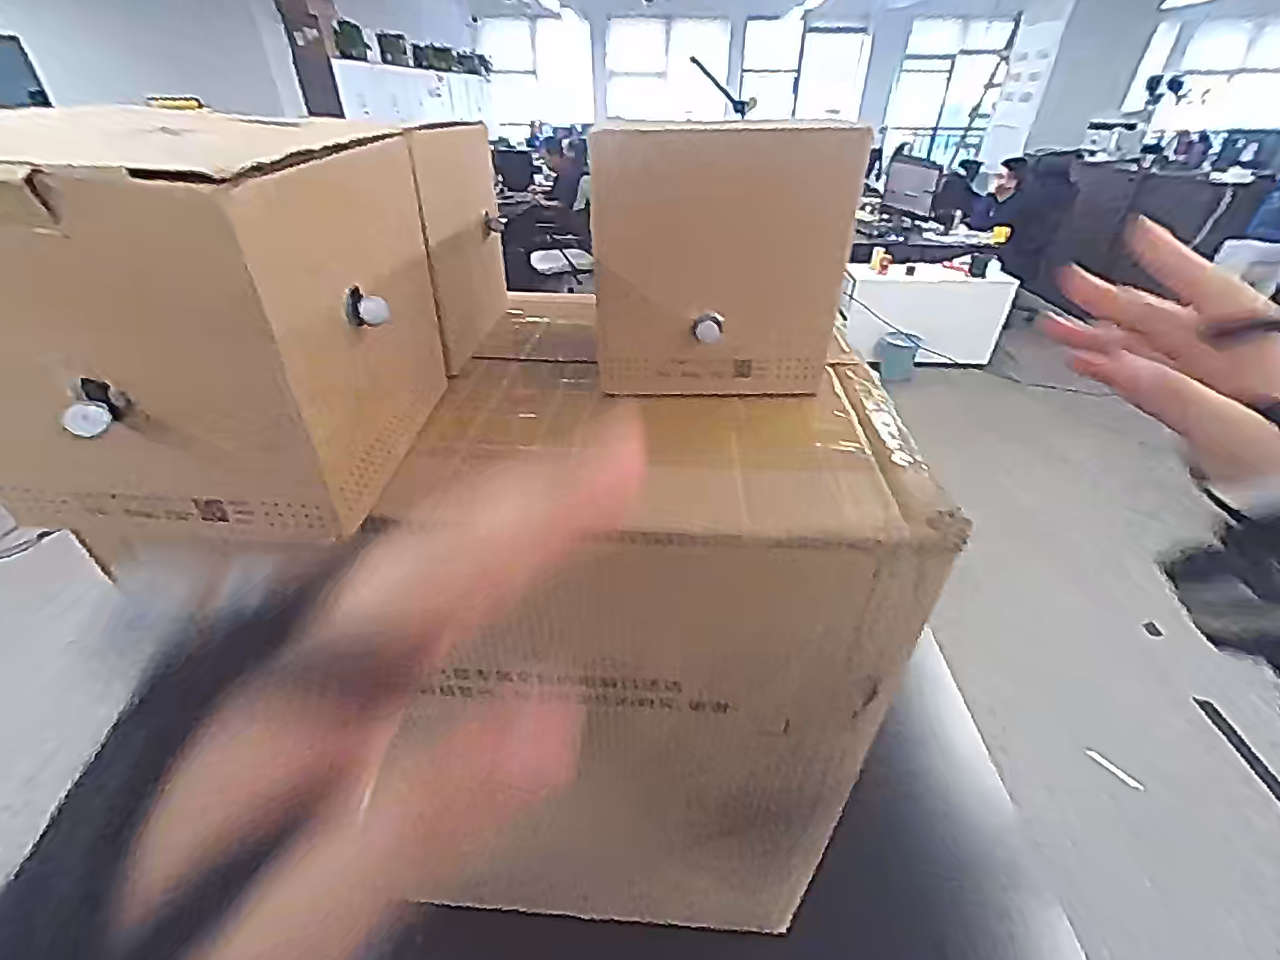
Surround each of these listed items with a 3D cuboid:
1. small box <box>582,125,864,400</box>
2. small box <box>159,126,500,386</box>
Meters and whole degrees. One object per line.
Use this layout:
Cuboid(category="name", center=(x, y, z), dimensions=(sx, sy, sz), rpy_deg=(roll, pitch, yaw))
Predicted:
Cuboid(category="small box", center=(0.050, -0.174, 0.422), dimensions=(0.168, 0.176, 0.179), rpy_deg=(-1, 34, 2))
Cuboid(category="small box", center=(-0.222, -0.192, 0.452), dimensions=(0.168, 0.176, 0.179), rpy_deg=(1, 35, 2))
